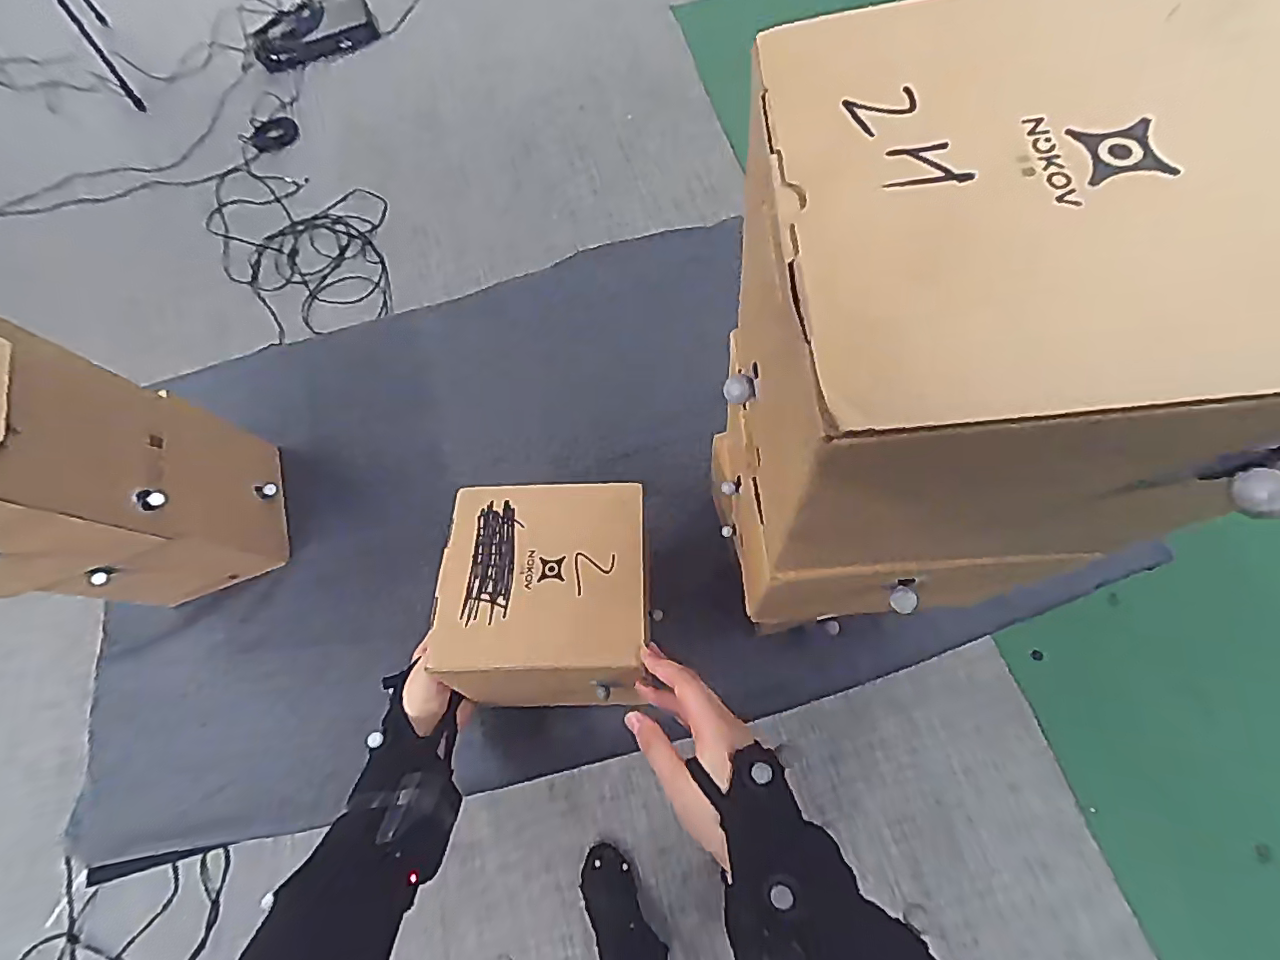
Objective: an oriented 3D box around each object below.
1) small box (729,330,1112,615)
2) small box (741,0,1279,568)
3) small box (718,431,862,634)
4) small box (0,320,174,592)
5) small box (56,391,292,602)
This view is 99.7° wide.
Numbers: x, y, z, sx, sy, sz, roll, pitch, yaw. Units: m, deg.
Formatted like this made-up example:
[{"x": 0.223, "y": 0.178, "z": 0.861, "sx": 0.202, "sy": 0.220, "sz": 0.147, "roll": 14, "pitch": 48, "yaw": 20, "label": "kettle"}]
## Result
[{"x": 0.161, "y": -0.001, "z": 0.384, "sx": 0.179, "sy": 0.176, "sz": 0.168, "roll": -7, "pitch": 68, "yaw": 6, "label": "small box"}, {"x": 0.140, "y": -0.062, "z": 0.232, "sx": 0.179, "sy": 0.176, "sz": 0.168, "roll": -5, "pitch": 68, "yaw": 7, "label": "small box"}, {"x": 0.178, "y": 0.043, "z": 0.540, "sx": 0.168, "sy": 0.176, "sz": 0.179, "roll": -16, "pitch": 69, "yaw": 2, "label": "small box"}, {"x": -0.564, "y": -0.011, "z": 0.481, "sx": 0.179, "sy": 0.176, "sz": 0.168, "roll": -20, "pitch": 70, "yaw": 1, "label": "small box"}, {"x": -0.551, "y": 0.029, "z": 0.641, "sx": 0.168, "sy": 0.176, "sz": 0.179, "roll": -20, "pitch": 70, "yaw": 0, "label": "small box"}]
